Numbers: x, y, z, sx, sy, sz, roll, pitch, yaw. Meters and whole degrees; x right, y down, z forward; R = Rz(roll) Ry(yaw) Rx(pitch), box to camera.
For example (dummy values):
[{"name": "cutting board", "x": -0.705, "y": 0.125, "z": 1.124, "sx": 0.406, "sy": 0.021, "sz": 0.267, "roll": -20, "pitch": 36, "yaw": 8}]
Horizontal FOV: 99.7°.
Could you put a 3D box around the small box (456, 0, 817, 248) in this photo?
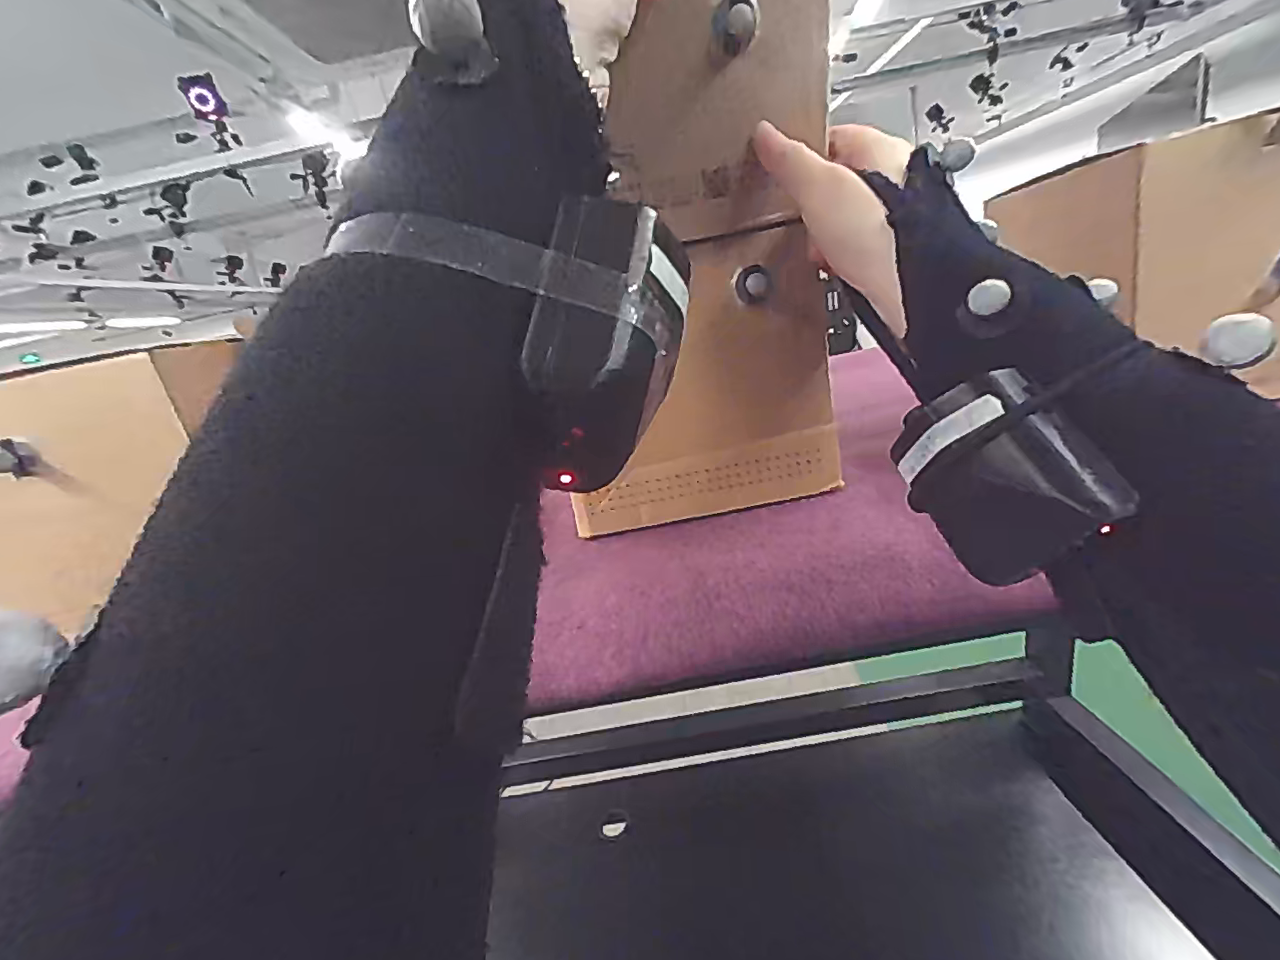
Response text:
[{"name": "small box", "x": -0.004, "y": -0.242, "z": 0.315, "sx": 0.168, "sy": 0.176, "sz": 0.179, "roll": -11, "pitch": 31, "yaw": -1}]

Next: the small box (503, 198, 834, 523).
[{"name": "small box", "x": 0.023, "y": -0.080, "z": 0.391, "sx": 0.179, "sy": 0.176, "sz": 0.168, "roll": -11, "pitch": 17, "yaw": 1}]

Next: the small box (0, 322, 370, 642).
[{"name": "small box", "x": -0.332, "y": -0.007, "z": 0.383, "sx": 0.179, "sy": 0.176, "sz": 0.168, "roll": -11, "pitch": 20, "yaw": 1}]

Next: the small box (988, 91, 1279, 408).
[{"name": "small box", "x": 0.378, "y": -0.155, "z": 0.380, "sx": 0.168, "sy": 0.176, "sz": 0.179, "roll": -10, "pitch": 17, "yaw": 9}]
